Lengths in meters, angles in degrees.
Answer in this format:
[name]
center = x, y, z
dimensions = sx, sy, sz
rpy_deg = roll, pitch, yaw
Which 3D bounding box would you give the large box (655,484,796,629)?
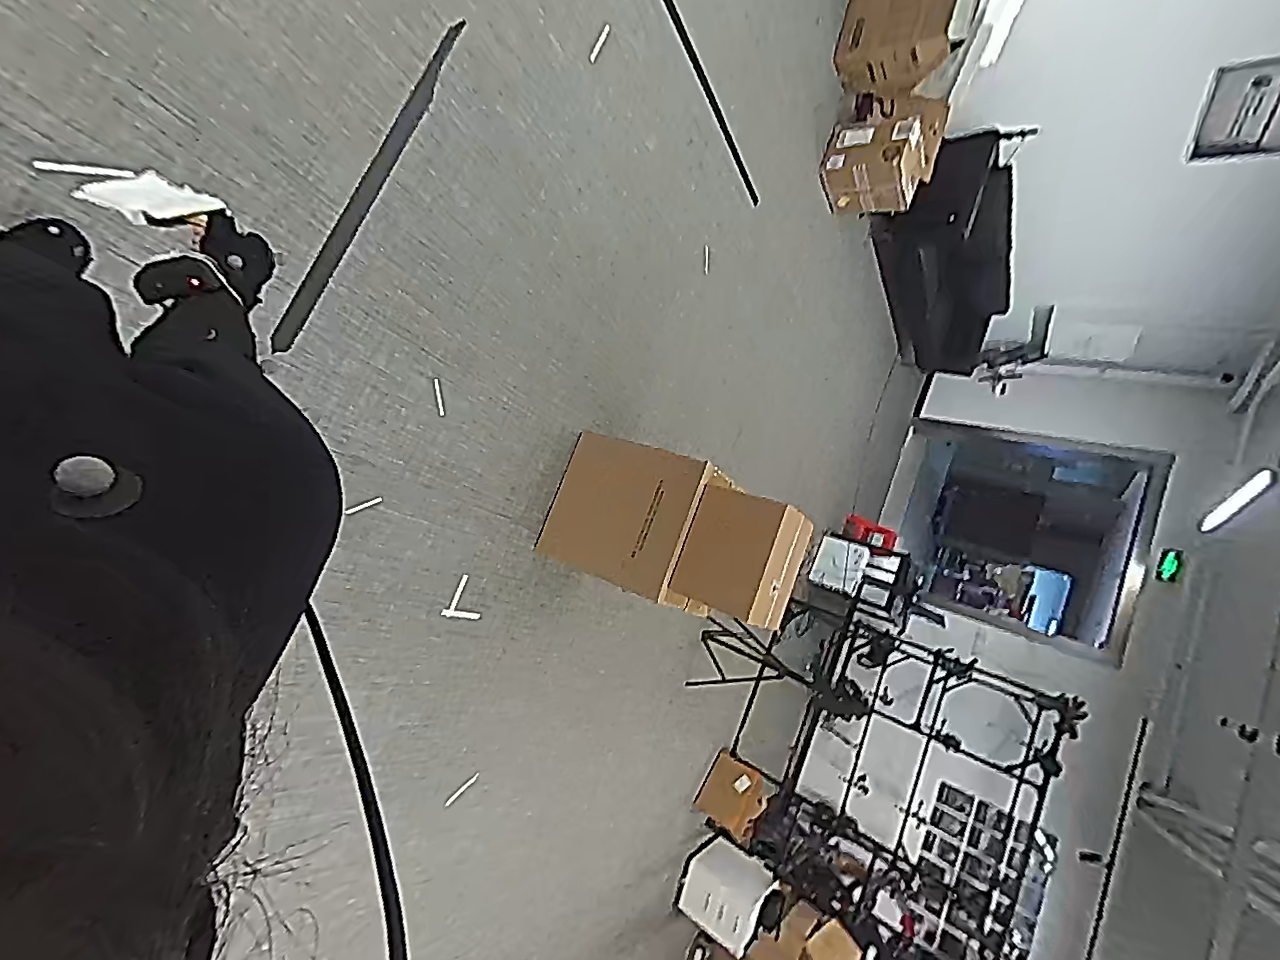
[large box]
center = 0.308, 0.268, 1.914
dimensions = 0.320, 0.320, 0.408
rpy_deg = 31, 79, -53
